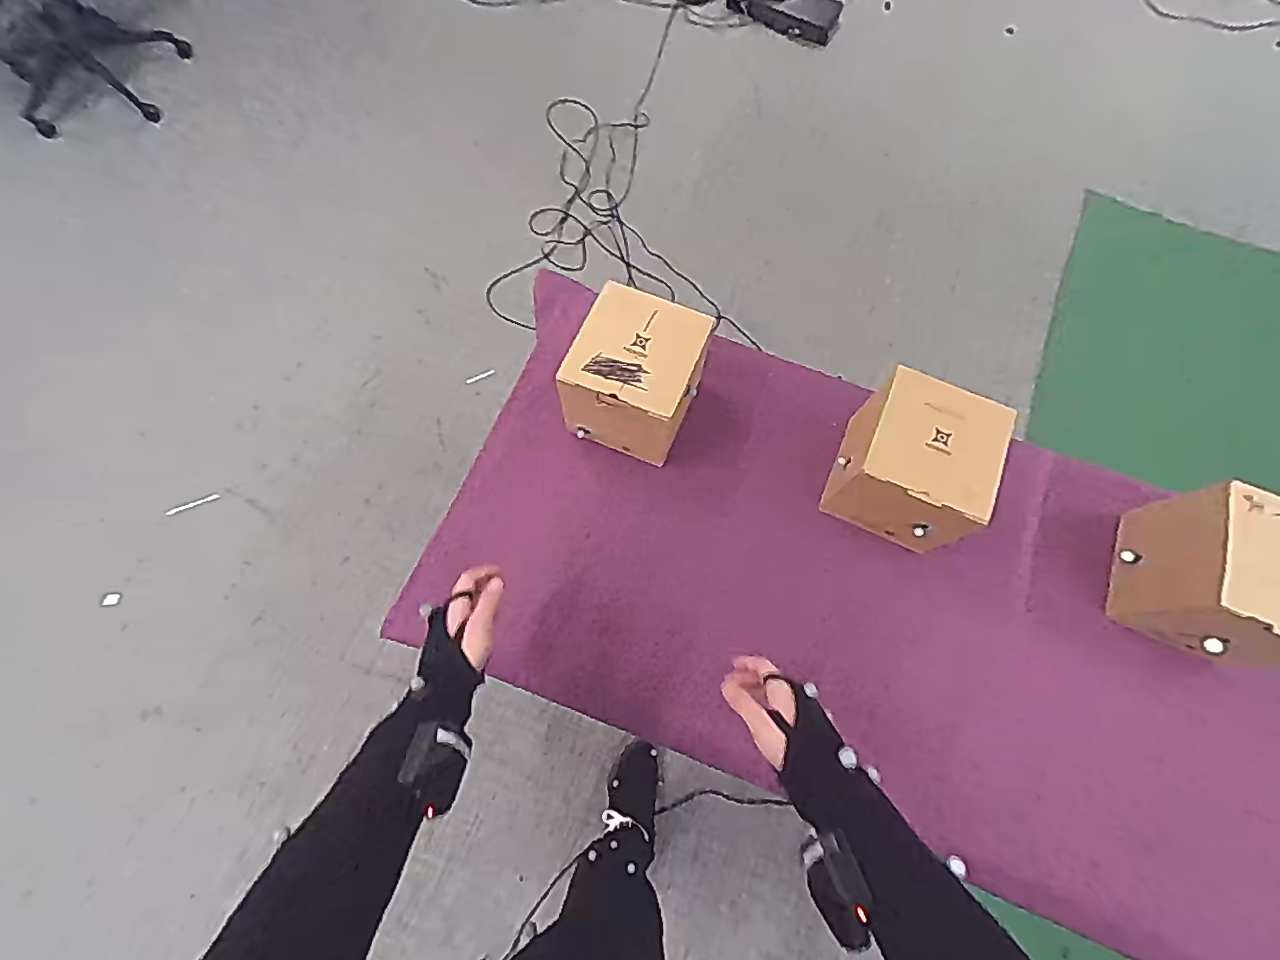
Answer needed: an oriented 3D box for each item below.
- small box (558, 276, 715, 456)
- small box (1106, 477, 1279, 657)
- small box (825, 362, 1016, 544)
[{"bbox_3d":[-0.004,-0.159,0.807,0.168,0.176,0.179,22,71,6],"label":"small box"},{"bbox_3d":[0.780,0.126,0.725,0.168,0.176,0.179,23,74,7],"label":"small box"},{"bbox_3d":[0.386,-0.028,0.773,0.168,0.176,0.179,25,71,6],"label":"small box"}]
